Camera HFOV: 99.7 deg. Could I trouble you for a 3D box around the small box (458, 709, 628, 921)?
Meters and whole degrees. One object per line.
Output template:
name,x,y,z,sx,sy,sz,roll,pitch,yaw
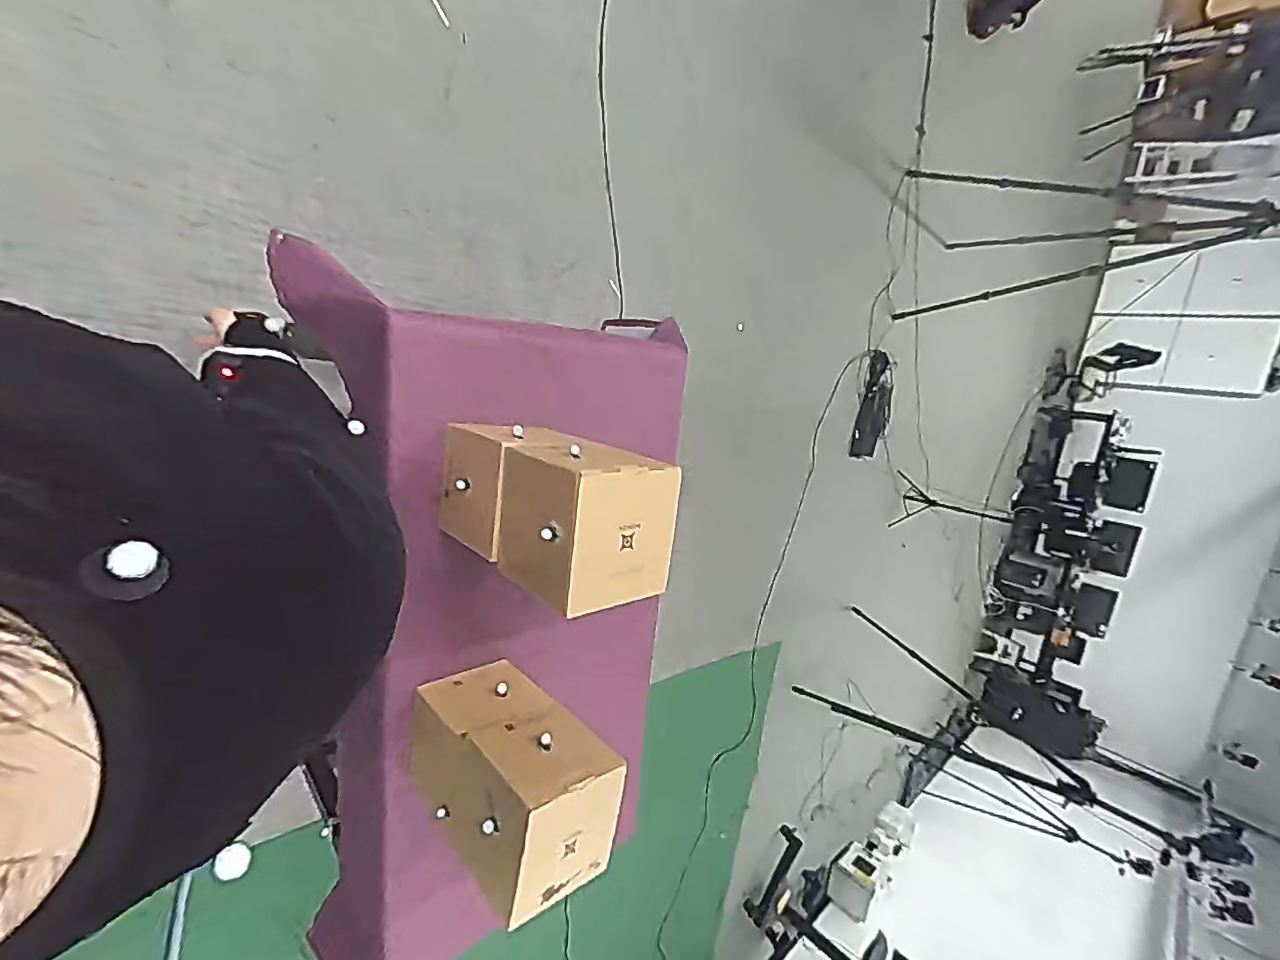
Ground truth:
small box,-0.143,0.455,0.777,0.168,0.176,0.179,3,101,-45

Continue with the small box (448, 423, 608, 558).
small box,-0.176,0.008,0.828,0.179,0.176,0.168,-2,105,-44

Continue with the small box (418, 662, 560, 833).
small box,-0.253,0.423,0.895,0.168,0.176,0.179,-4,107,-44

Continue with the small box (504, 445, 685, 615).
small box,-0.066,0.051,0.716,0.168,0.176,0.179,-3,106,-42
